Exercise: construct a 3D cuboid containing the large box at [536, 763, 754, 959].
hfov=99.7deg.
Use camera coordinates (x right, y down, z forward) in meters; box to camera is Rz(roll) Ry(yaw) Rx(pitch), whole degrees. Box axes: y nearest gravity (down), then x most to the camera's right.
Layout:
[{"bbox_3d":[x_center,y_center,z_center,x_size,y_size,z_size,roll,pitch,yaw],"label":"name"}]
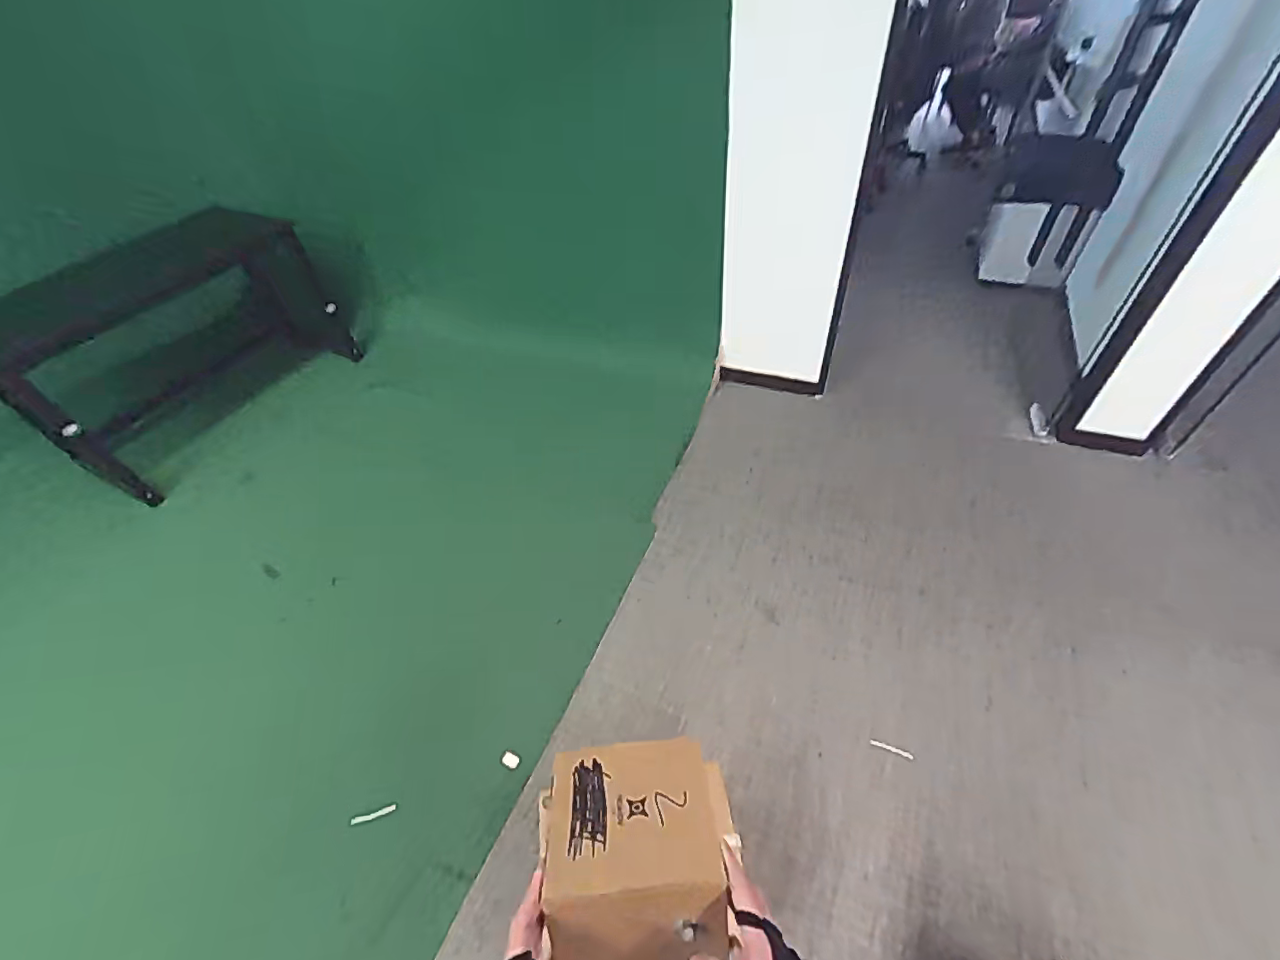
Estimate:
[{"bbox_3d":[0.006,0.868,1.193,0.408,0.320,0.320,-10,47,-2],"label":"large box"}]
